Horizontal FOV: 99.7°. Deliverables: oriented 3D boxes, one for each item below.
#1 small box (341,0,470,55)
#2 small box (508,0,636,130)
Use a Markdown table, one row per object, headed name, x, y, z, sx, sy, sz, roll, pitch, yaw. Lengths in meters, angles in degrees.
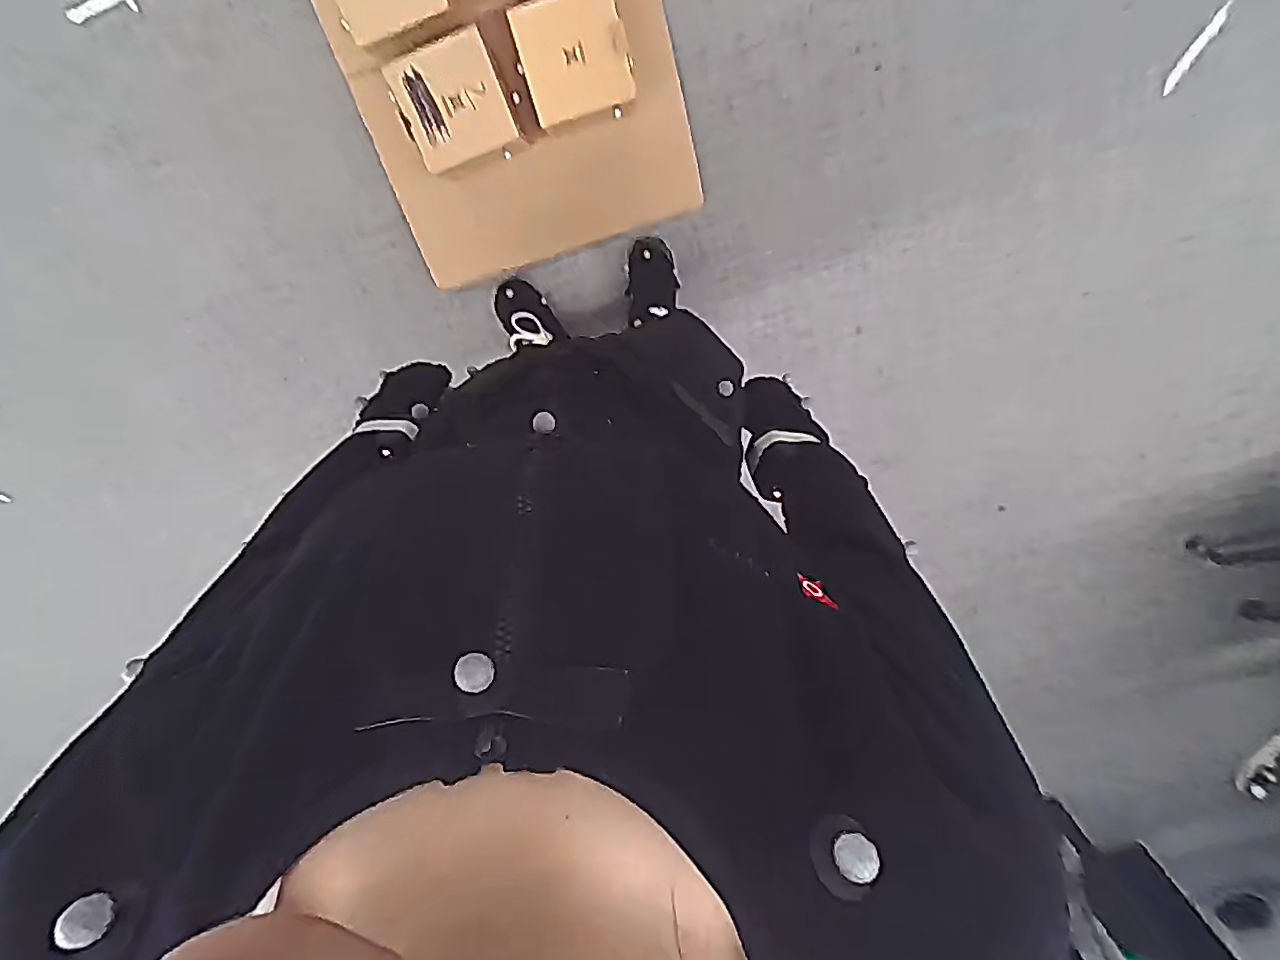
| name | x | y | z | sx | sy | sz | roll | pitch | yaw |
| --- | --- | --- | --- | --- | --- | --- | --- | --- | --- |
| small box | -0.406 | -0.842 | 0.896 | 0.168 | 0.176 | 0.179 | -18 | 117 | 6 |
| small box | -0.112 | -0.743 | 0.956 | 0.179 | 0.176 | 0.168 | -14 | 117 | 3 |
